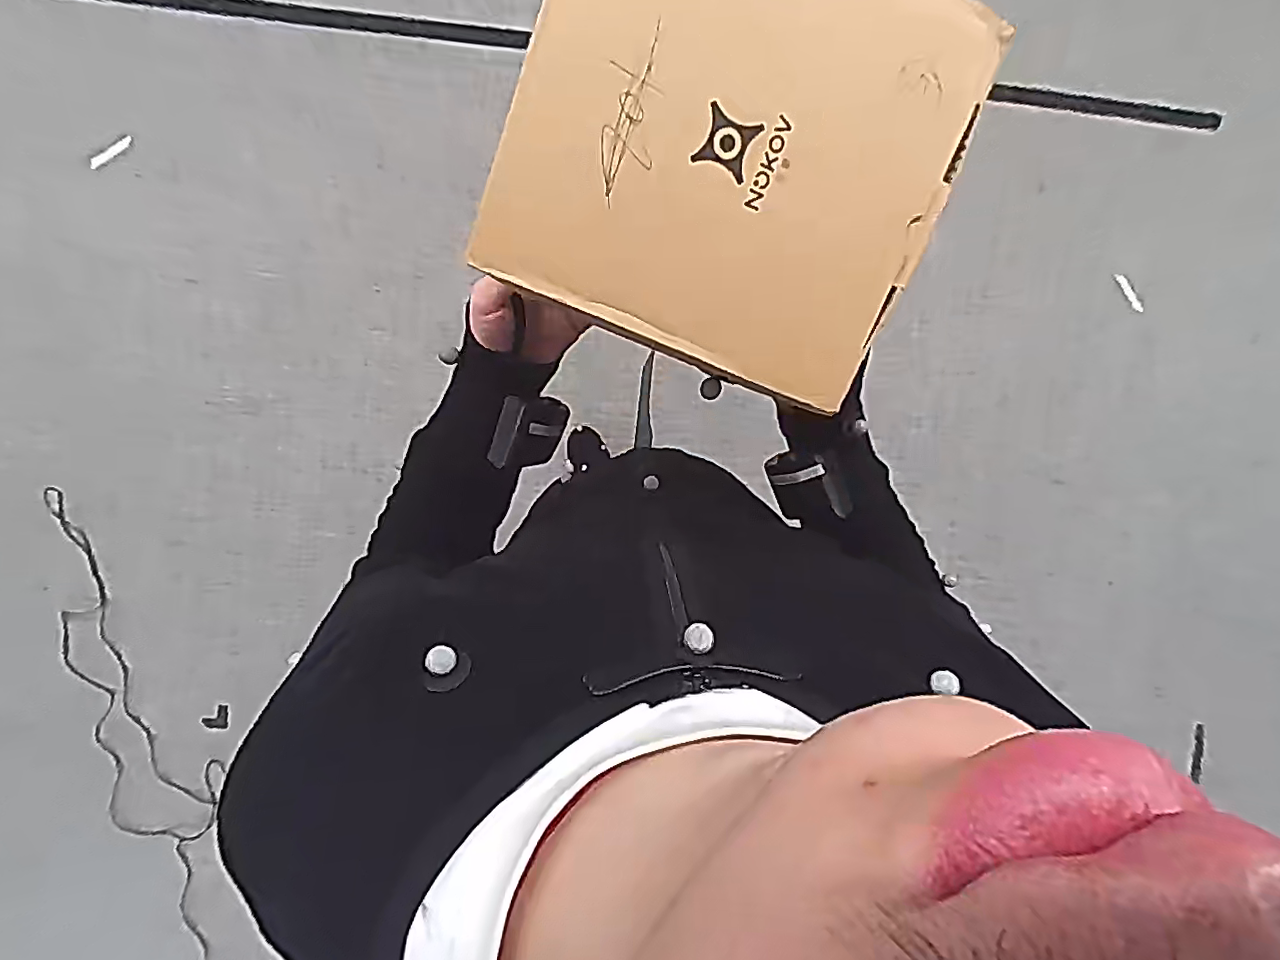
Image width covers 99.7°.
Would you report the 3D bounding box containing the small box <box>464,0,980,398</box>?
[{"bbox_3d":[0.029,-0.160,0.305,0.179,0.176,0.168,20,101,-7],"label":"small box"}]
